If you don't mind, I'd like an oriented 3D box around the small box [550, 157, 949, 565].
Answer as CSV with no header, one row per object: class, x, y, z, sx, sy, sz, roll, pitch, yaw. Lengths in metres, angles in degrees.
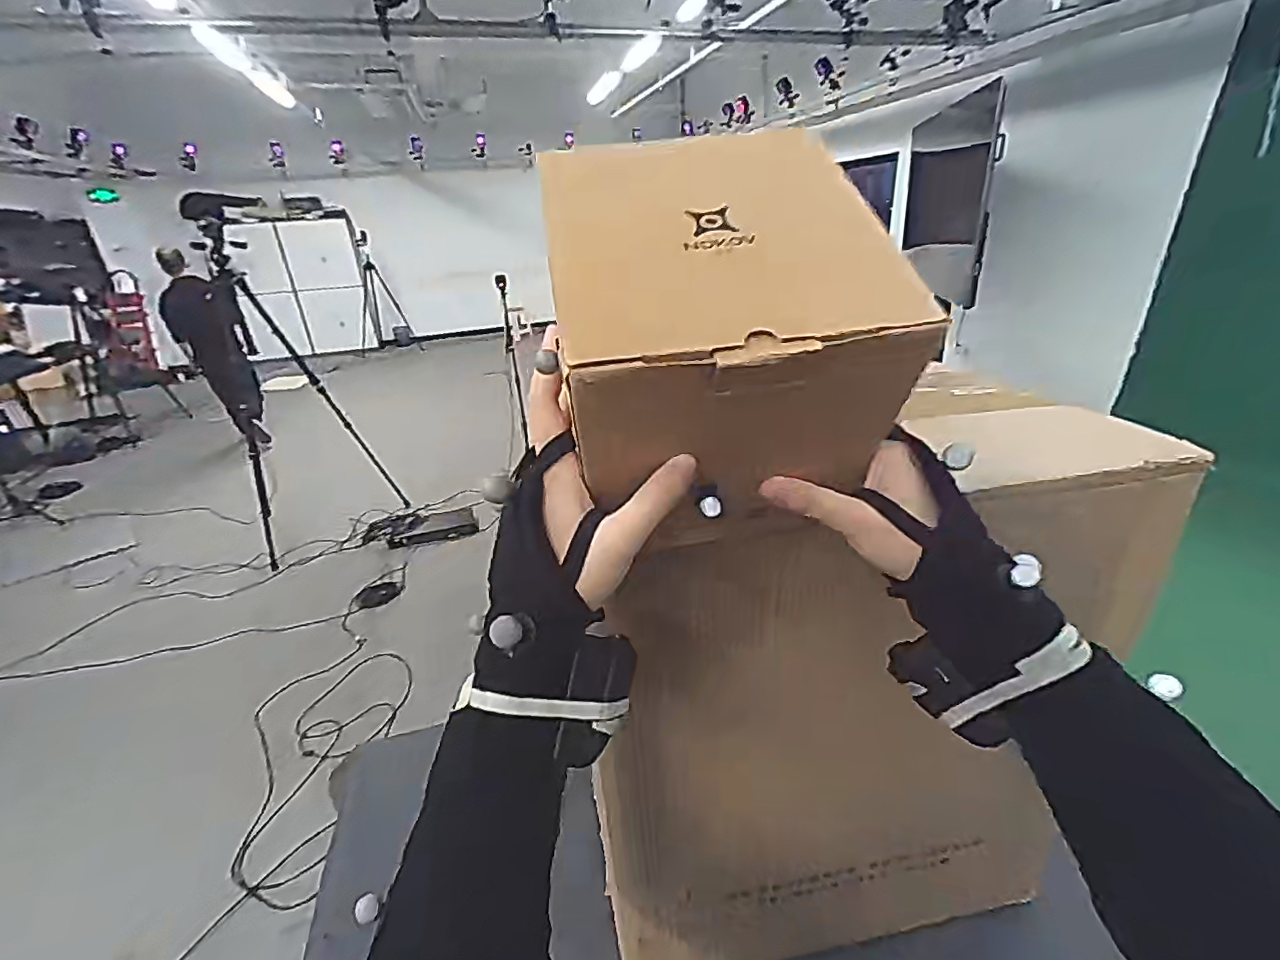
small box,0.039,-0.069,0.337,0.168,0.176,0.179,-8,57,-6
